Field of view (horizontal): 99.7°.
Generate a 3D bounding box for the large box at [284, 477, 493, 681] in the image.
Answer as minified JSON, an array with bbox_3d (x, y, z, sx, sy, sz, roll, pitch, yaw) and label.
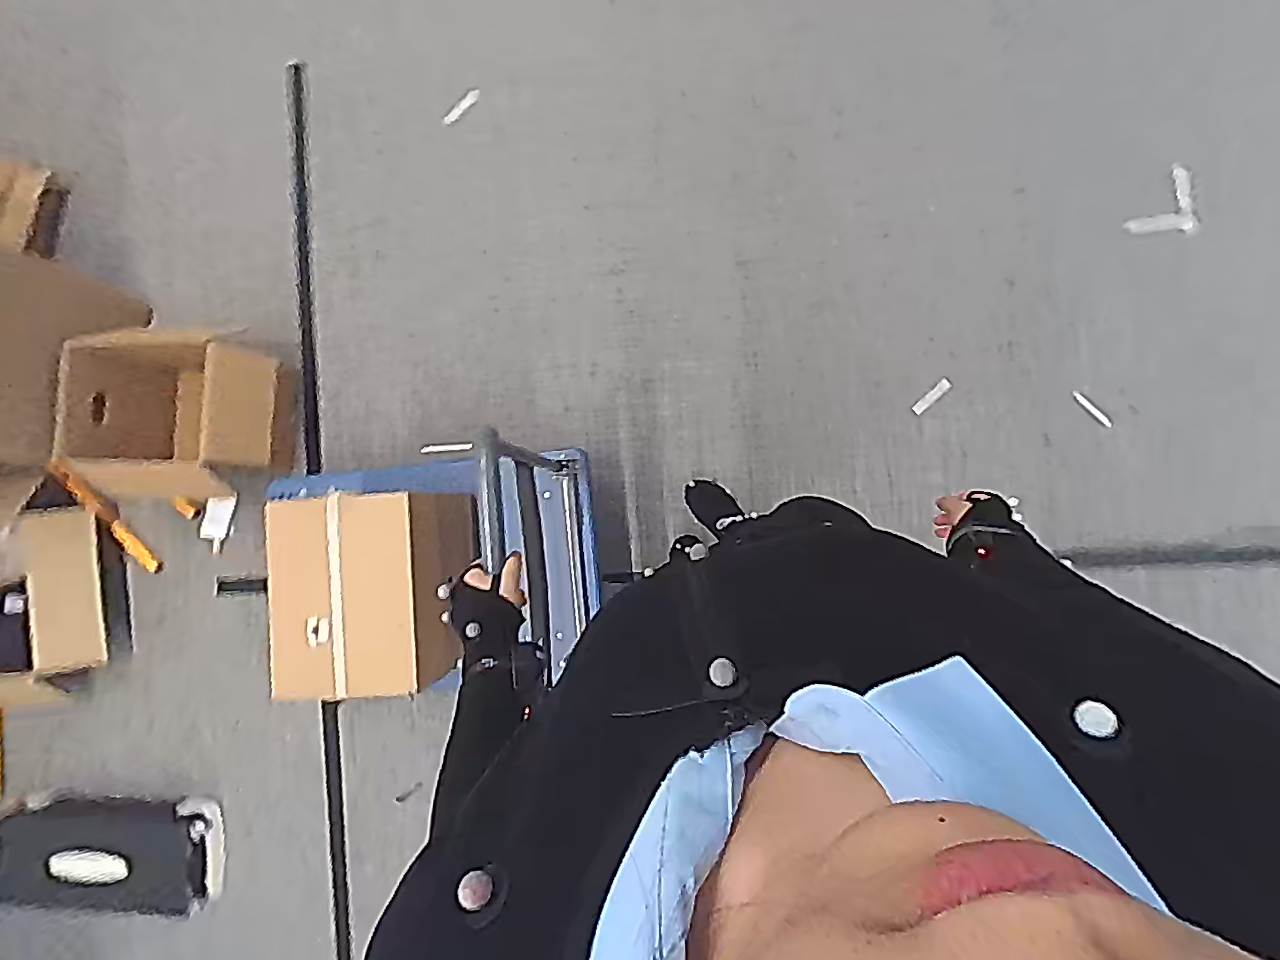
[{"bbox_3d":[-0.561,0.208,1.264,0.320,0.320,0.408,-5,90,8],"label":"large box"}]
